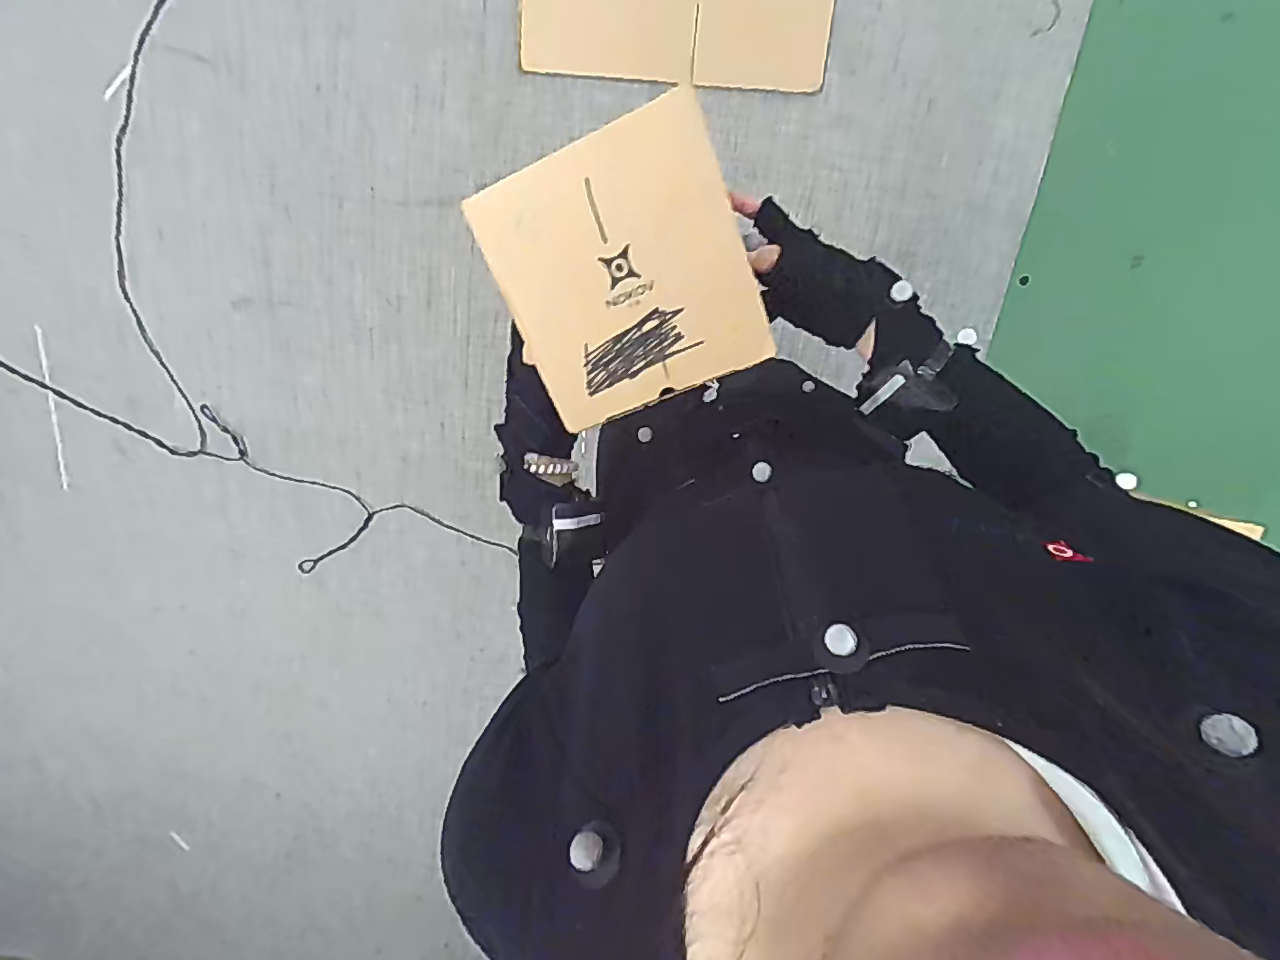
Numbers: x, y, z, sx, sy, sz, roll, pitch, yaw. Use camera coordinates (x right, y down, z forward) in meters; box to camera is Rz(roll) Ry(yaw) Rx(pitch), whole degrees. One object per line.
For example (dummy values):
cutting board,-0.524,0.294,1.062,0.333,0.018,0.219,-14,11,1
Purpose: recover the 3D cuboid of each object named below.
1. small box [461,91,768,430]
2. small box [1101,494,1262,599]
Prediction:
small box,-0.006,-0.169,0.443,0.168,0.176,0.179,-20,110,14
small box,1.212,0.143,1.229,0.168,0.176,0.179,11,105,0
